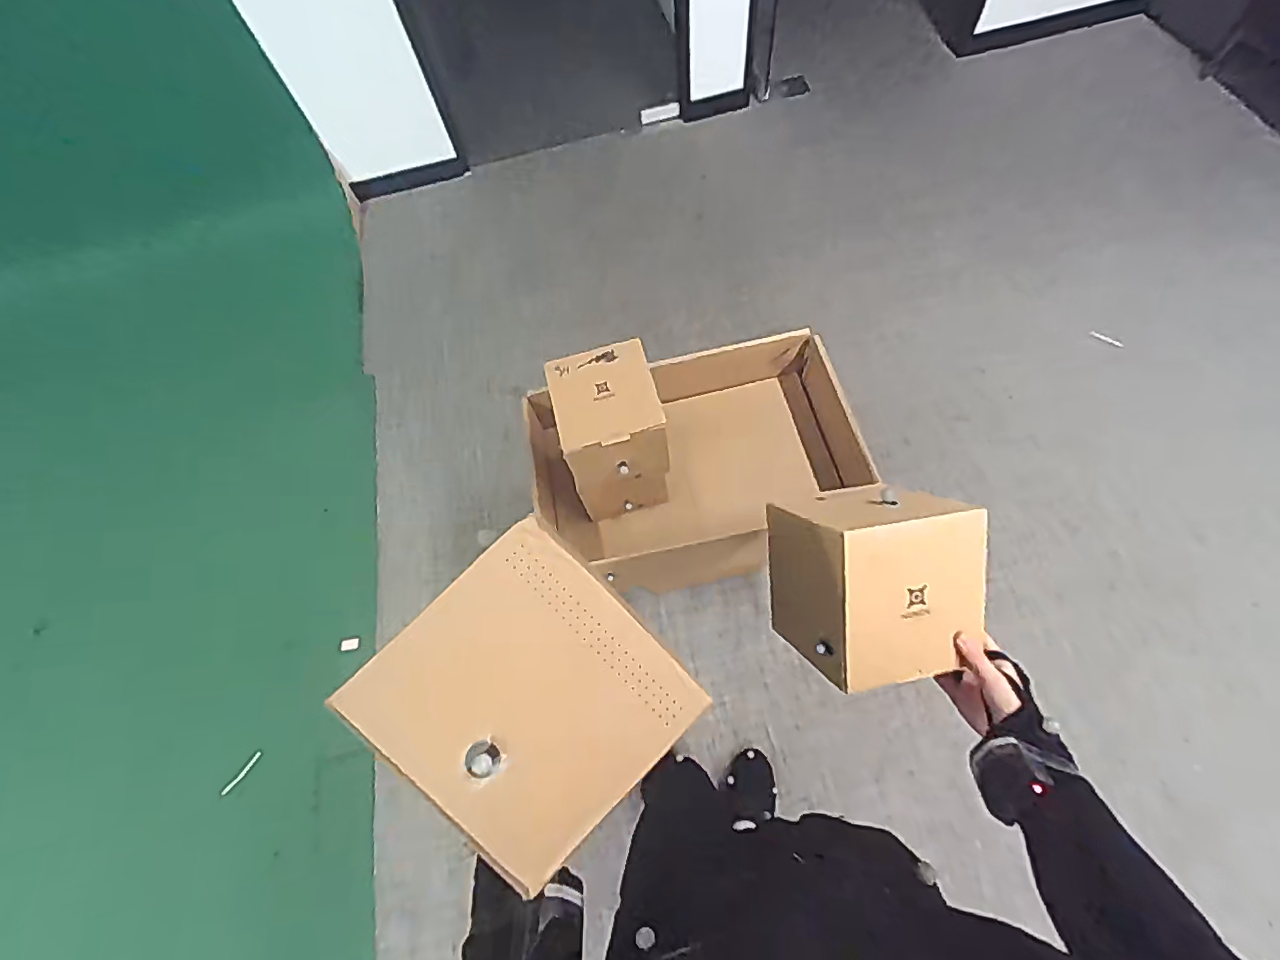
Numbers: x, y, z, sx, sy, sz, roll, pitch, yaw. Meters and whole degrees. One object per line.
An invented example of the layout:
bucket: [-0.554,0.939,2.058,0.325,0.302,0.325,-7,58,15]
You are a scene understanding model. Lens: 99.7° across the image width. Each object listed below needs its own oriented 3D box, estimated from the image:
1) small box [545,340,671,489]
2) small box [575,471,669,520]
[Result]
small box: [-0.048,-0.099,0.913,0.168,0.176,0.179,-15,66,-1]
small box: [-0.043,-0.043,1.068,0.168,0.176,0.179,-16,66,0]
